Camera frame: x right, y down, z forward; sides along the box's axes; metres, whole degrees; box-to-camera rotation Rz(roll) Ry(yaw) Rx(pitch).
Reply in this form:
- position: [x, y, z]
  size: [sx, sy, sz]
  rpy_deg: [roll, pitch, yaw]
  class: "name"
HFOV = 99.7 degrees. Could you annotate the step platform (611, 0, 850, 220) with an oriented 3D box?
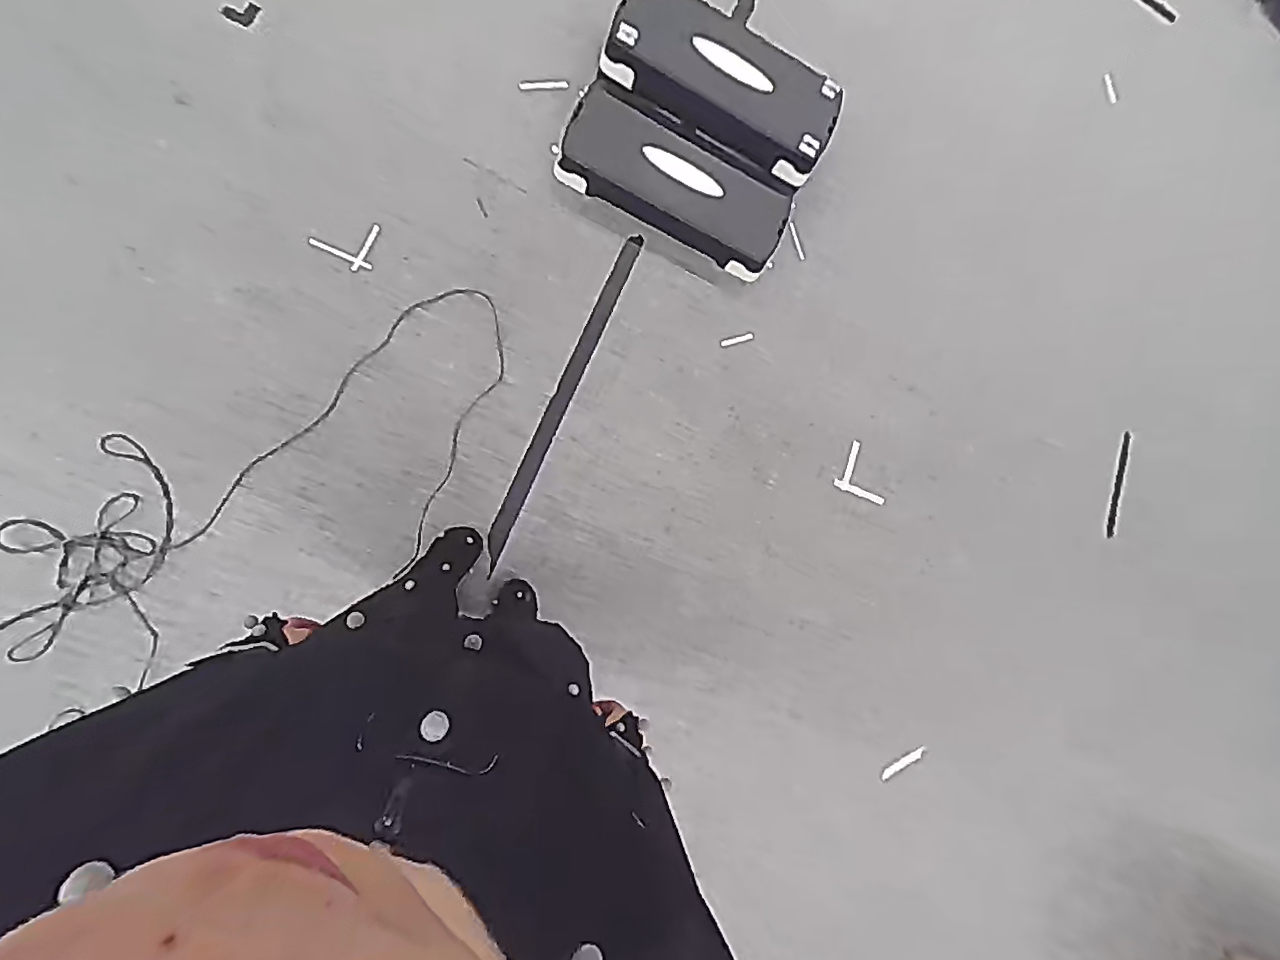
- position: [0.267, -1.085, 1.581]
  size: [0.684, 0.204, 0.286]
  rpy_deg: [29, 77, -9]
  class: "step platform"
